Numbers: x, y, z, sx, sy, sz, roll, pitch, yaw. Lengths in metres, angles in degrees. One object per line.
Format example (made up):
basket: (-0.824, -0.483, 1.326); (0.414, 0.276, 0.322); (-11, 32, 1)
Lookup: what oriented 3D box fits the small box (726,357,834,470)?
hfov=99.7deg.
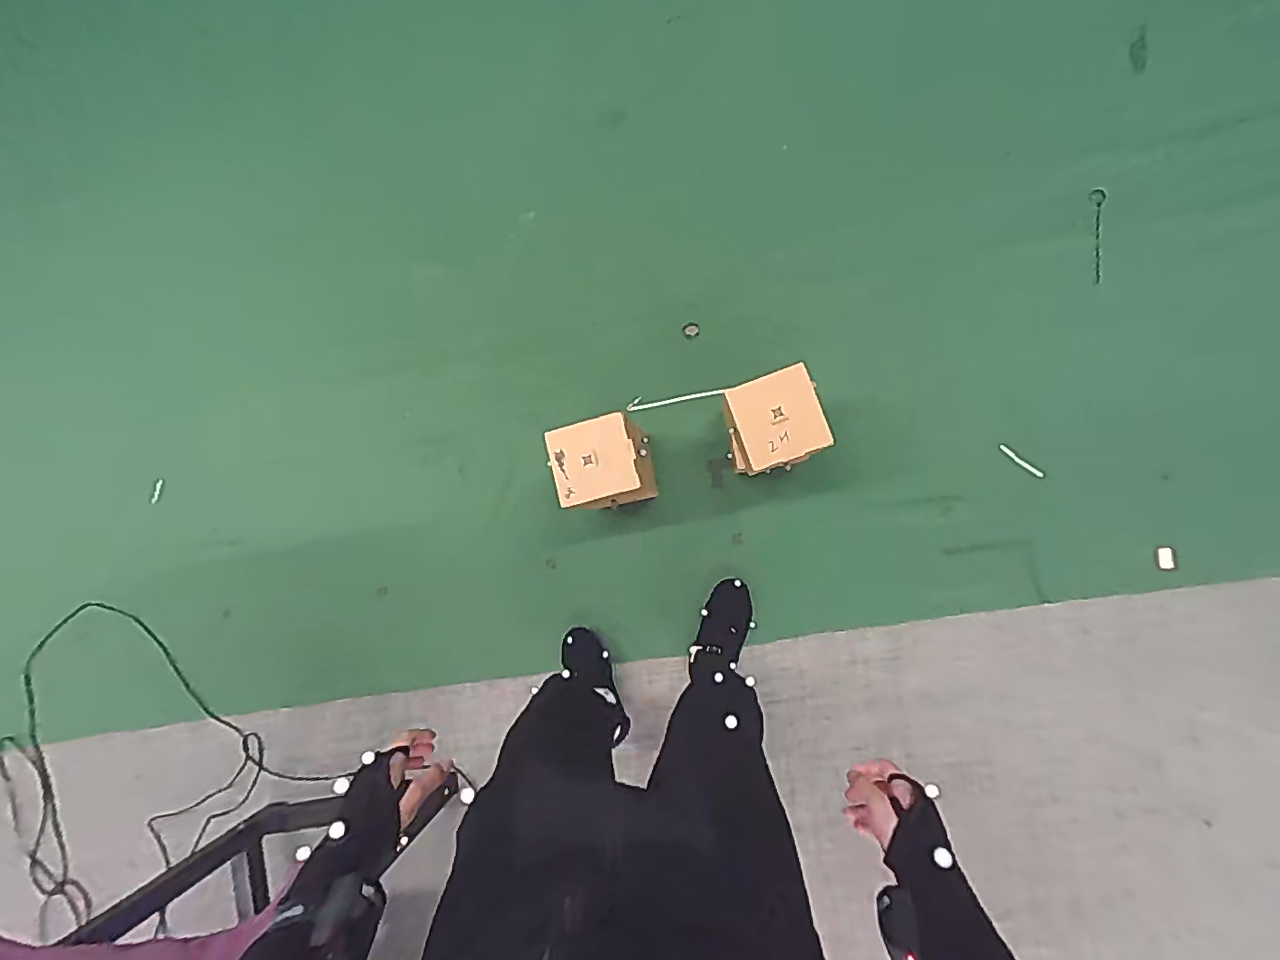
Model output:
small box: (0.282, -0.130, 1.133); (0.168, 0.176, 0.179); (-20, 86, 8)

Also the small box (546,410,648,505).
small box: (-0.085, -0.044, 1.190); (0.179, 0.176, 0.168); (-15, 84, 8)

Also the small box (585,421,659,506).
small box: (-0.054, -0.036, 1.351); (0.168, 0.176, 0.179); (-12, 85, 9)
